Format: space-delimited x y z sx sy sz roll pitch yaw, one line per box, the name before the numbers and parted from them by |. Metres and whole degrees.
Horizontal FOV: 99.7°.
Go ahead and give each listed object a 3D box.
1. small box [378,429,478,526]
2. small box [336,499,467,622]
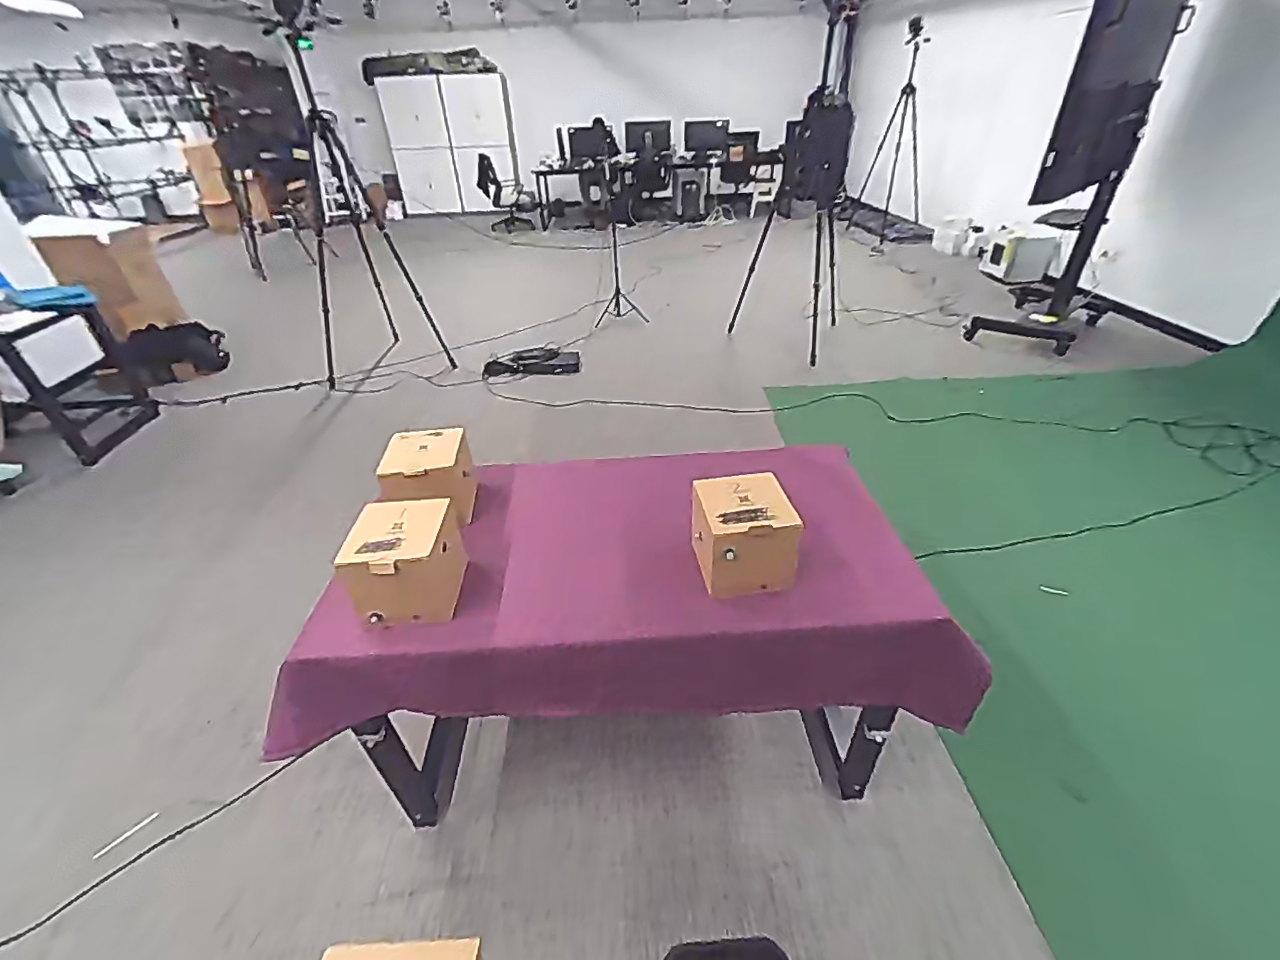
small box | -0.486 0.001 1.271 0.168 0.176 0.179 -5 37 -5
small box | -0.445 0.159 1.045 0.168 0.176 0.179 -4 34 -2
